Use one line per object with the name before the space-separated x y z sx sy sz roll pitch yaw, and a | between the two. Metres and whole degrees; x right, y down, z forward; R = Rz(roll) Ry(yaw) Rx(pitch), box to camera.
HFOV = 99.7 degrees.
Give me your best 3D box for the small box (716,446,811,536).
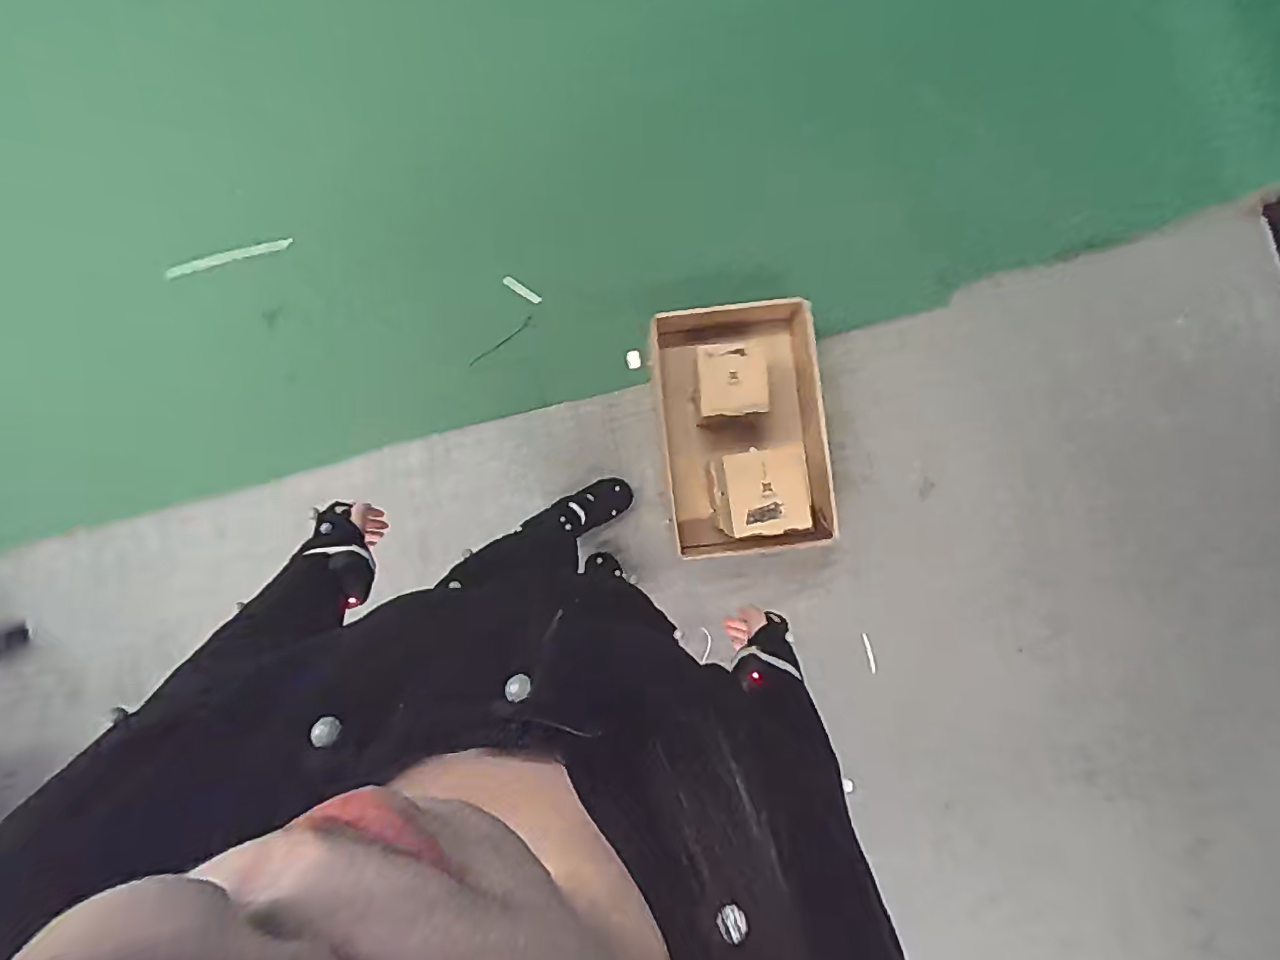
small box | 0.268 0.025 1.210 0.168 0.176 0.179 -8 88 1
